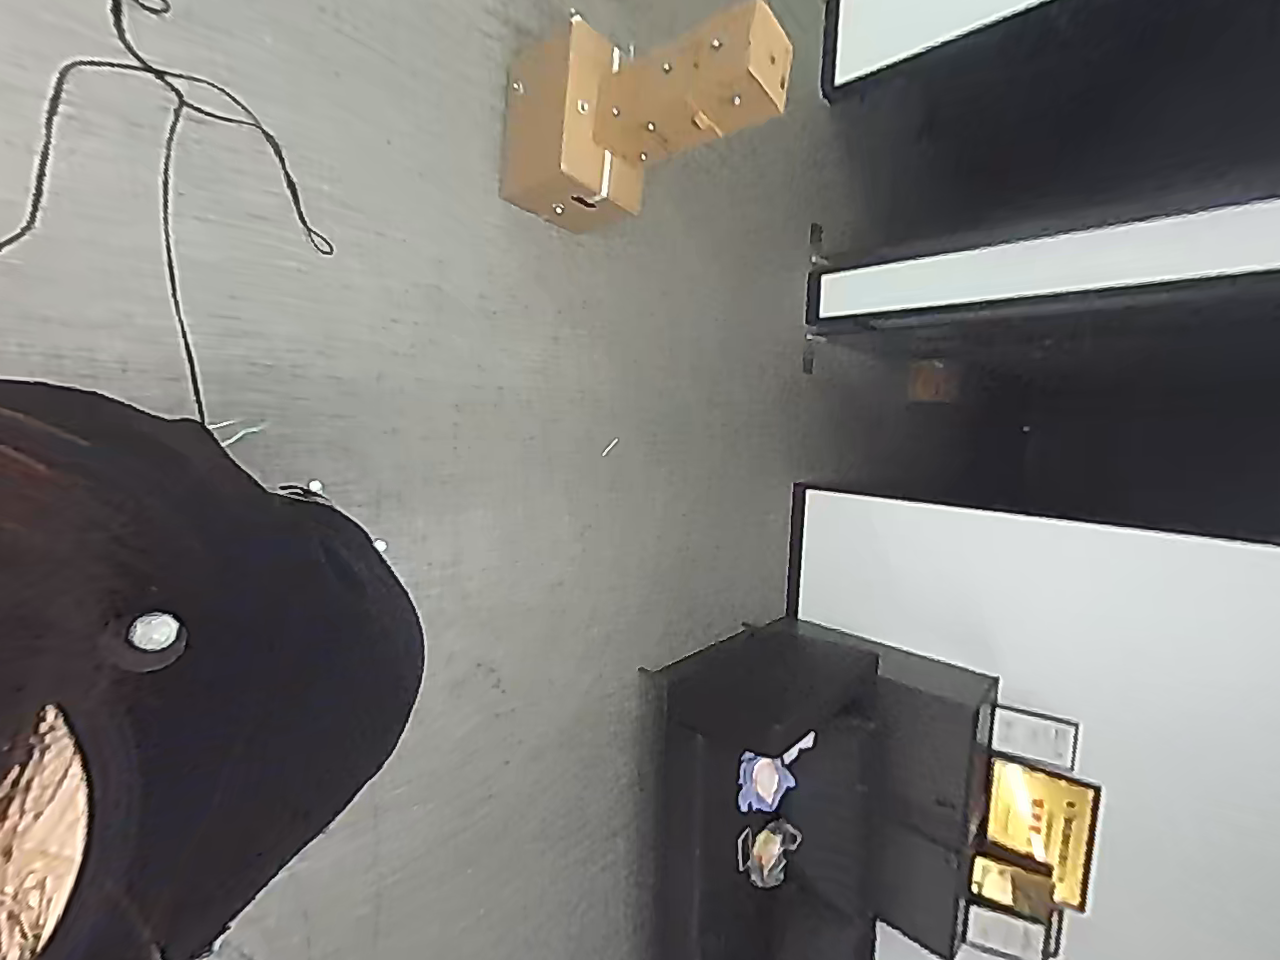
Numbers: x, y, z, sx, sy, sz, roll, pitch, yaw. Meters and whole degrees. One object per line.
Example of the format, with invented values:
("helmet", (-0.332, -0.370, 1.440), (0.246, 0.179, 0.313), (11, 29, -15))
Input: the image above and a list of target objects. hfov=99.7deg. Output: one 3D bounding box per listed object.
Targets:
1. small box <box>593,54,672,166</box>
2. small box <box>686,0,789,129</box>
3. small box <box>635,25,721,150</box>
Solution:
("small box", (-0.012, -1.015, 1.504), (0.168, 0.176, 0.179), (7, 91, -49))
("small box", (0.230, -0.979, 1.285), (0.179, 0.176, 0.168), (7, 92, -48))
("small box", (0.106, -0.994, 1.392), (0.168, 0.176, 0.179), (9, 88, -49))
